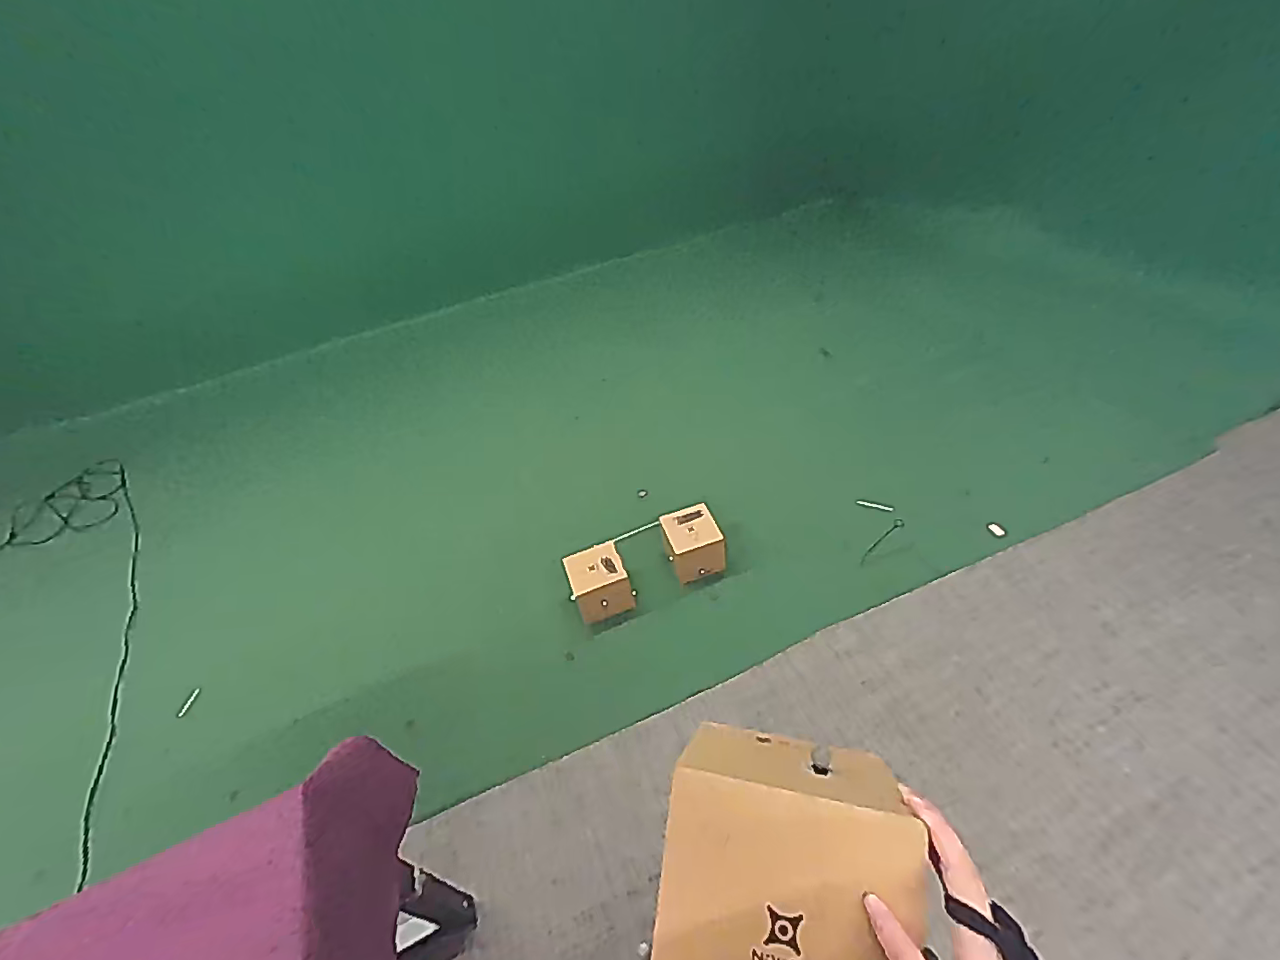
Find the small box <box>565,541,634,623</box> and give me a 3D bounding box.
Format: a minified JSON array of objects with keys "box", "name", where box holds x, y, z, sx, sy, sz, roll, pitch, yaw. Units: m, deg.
[{"box":[-0.127,0.334,1.770,0.179,0.176,0.168,-21,43,-8],"name":"small box"}]
